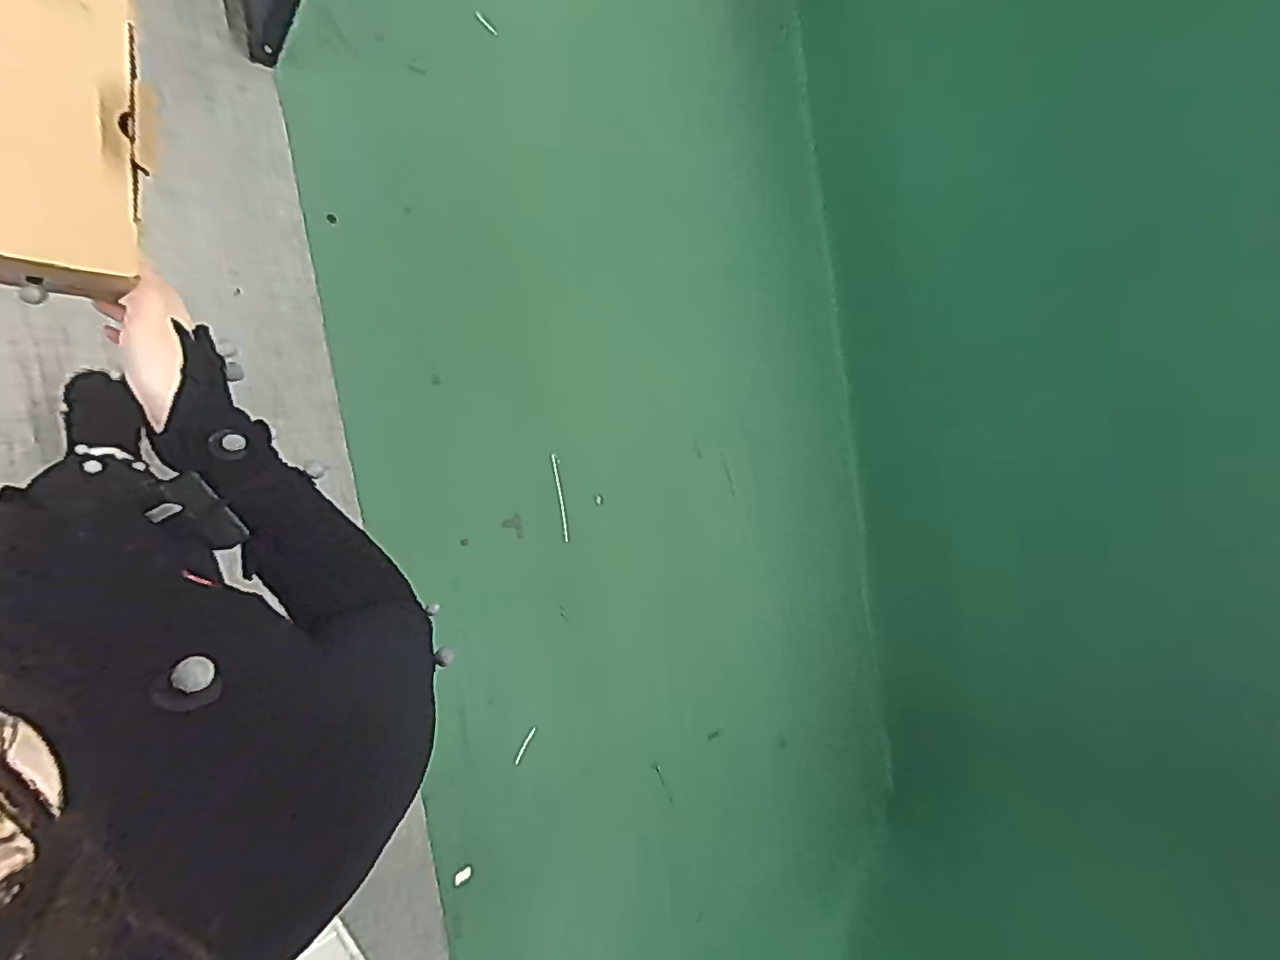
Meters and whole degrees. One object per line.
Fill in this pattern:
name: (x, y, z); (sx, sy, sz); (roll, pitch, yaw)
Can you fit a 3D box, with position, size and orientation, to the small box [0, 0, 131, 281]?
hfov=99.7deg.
small box: (-0.399, -0.211, 0.285); (0.179, 0.176, 0.168); (-3, 100, -46)
